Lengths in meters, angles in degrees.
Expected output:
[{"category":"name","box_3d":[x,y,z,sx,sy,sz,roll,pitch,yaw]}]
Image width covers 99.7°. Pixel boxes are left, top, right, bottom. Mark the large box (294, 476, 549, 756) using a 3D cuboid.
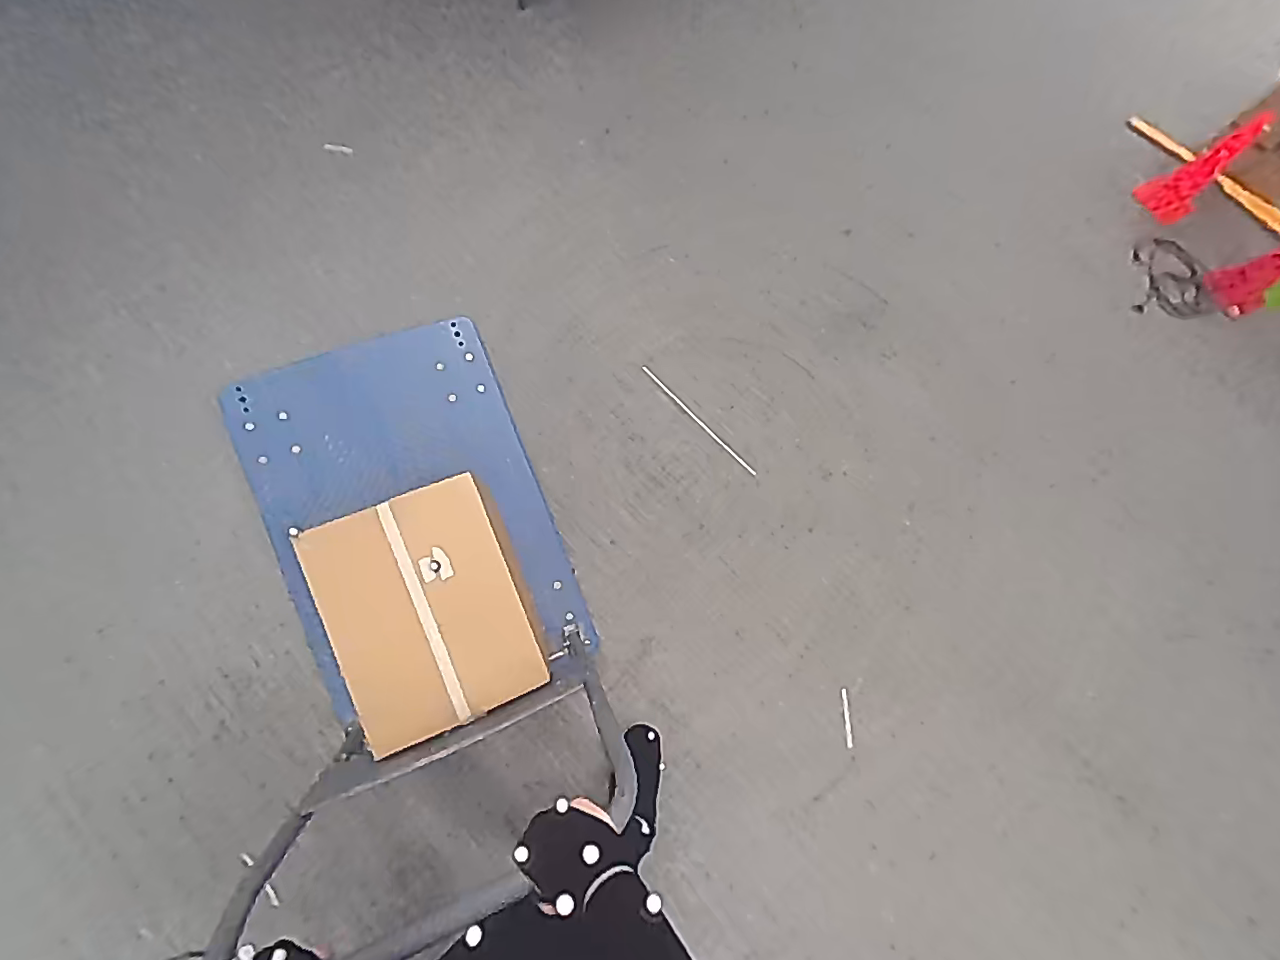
[{"category":"large box","box_3d":[-0.399,0.245,1.086,0.320,0.320,0.408,-22,88,-13]}]
